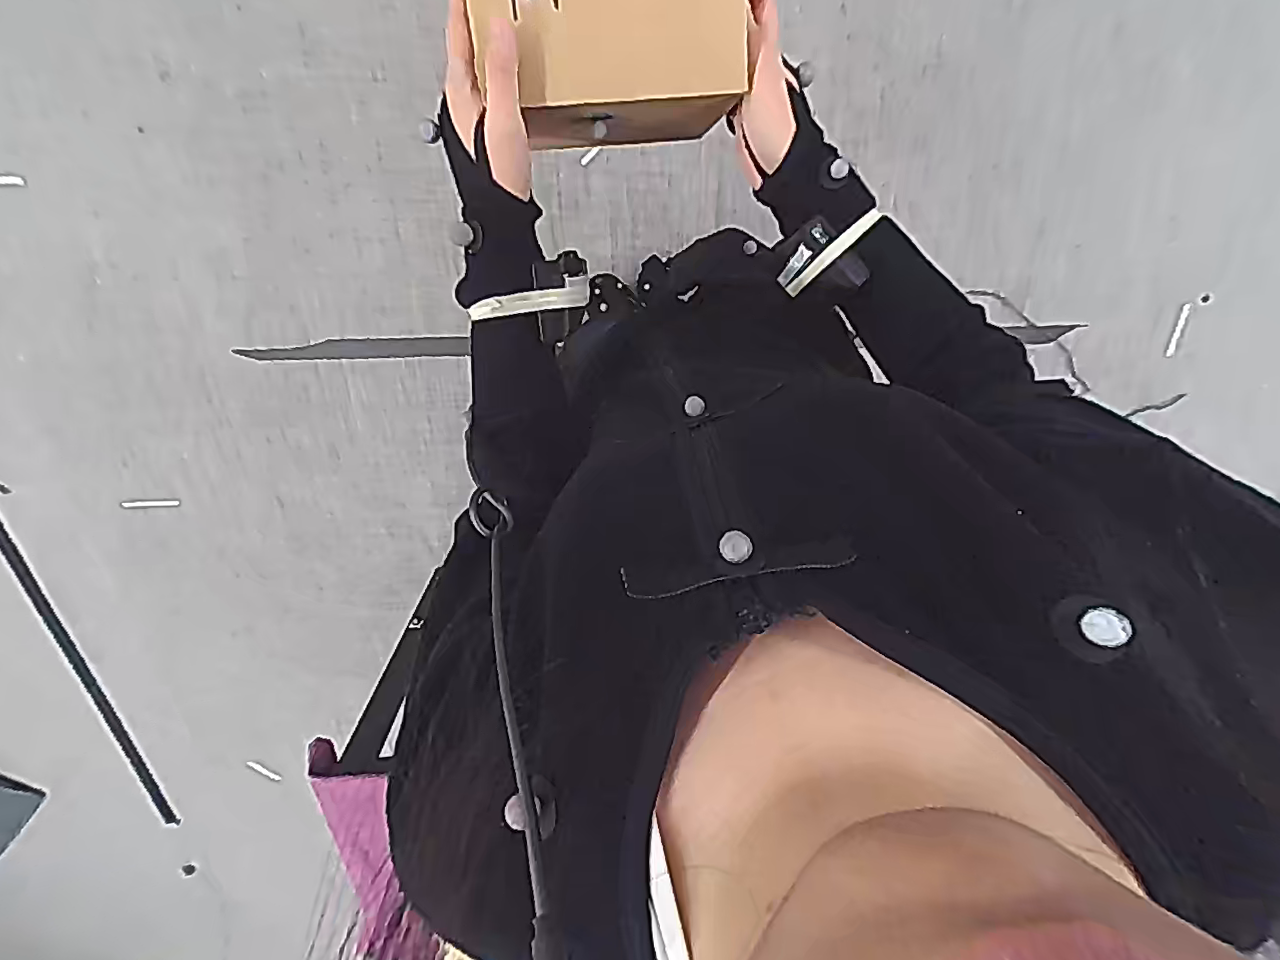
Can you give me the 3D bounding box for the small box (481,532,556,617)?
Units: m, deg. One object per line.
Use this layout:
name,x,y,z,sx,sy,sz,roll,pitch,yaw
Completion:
small box,-0.349,0.269,1.576,0.179,0.176,0.168,12,112,-10

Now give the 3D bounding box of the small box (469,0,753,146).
small box,-0.024,-0.352,0.390,0.179,0.176,0.168,-6,114,-3

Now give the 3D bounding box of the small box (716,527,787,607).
small box,0.324,0.258,1.610,0.168,0.176,0.179,-1,115,-3

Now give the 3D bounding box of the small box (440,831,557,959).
small box,-0.255,0.794,1.014,0.179,0.176,0.168,-1,115,-3
